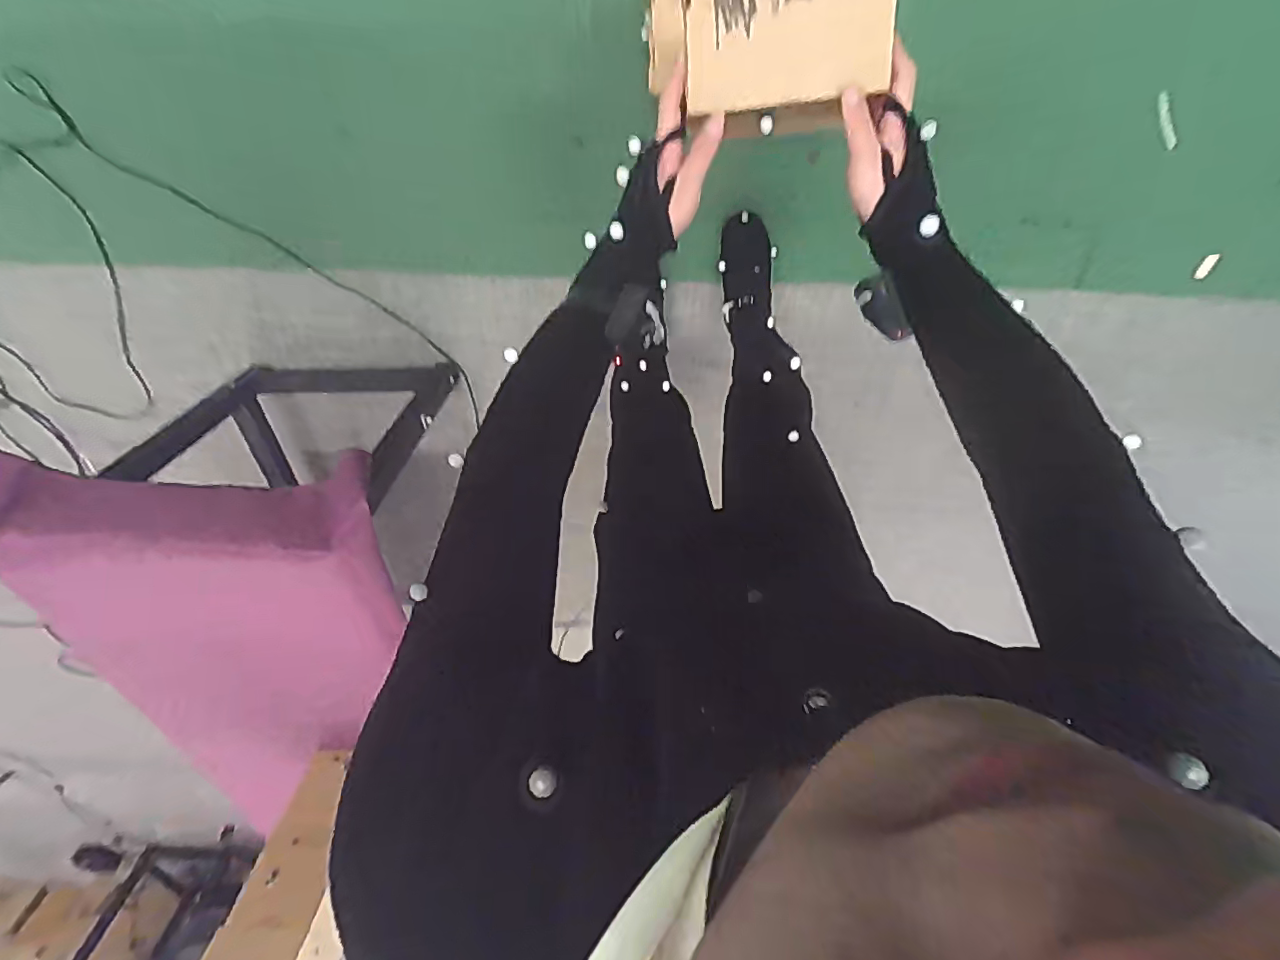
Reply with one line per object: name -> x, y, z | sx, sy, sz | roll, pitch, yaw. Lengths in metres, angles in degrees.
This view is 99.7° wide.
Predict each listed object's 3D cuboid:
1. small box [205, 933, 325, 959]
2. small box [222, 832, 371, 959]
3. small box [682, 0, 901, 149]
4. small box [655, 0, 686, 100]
small box -> -0.692, 0.935, 0.962 | 0.179, 0.176, 0.168 | 0, 125, 3
small box -> -0.679, 0.841, 1.095 | 0.168, 0.176, 0.179 | 1, 126, 2
small box -> 0.130, -0.427, 0.509 | 0.179, 0.176, 0.168 | -3, 113, 7
small box -> 0.113, -0.695, 0.839 | 0.179, 0.176, 0.168 | 1, 126, 4
